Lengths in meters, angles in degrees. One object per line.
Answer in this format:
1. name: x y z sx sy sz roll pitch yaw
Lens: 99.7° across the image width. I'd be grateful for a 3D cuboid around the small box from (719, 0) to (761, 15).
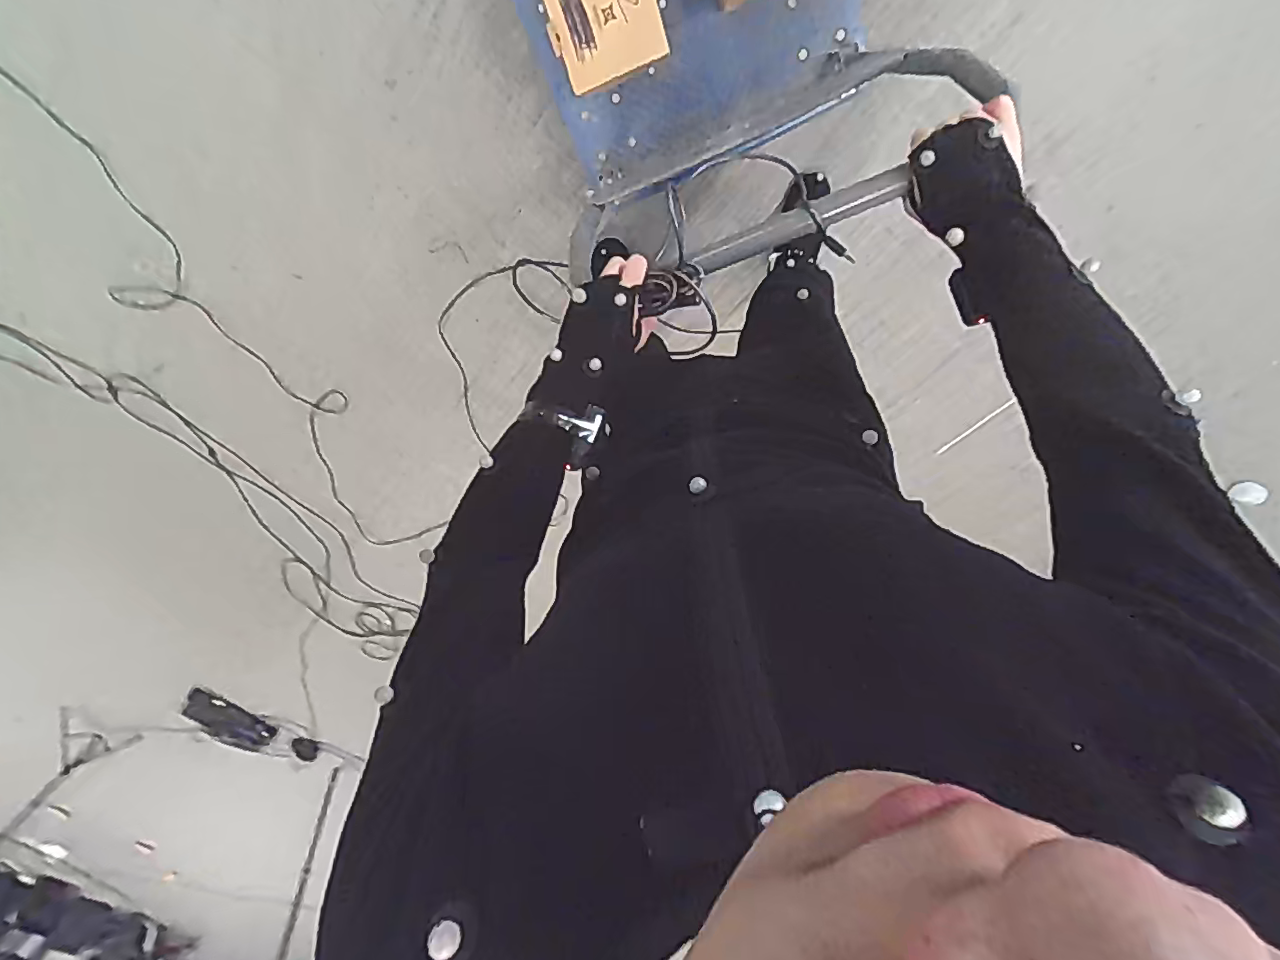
1. small box: 0.189 -0.884 0.854 0.168 0.176 0.179 -16 123 15
